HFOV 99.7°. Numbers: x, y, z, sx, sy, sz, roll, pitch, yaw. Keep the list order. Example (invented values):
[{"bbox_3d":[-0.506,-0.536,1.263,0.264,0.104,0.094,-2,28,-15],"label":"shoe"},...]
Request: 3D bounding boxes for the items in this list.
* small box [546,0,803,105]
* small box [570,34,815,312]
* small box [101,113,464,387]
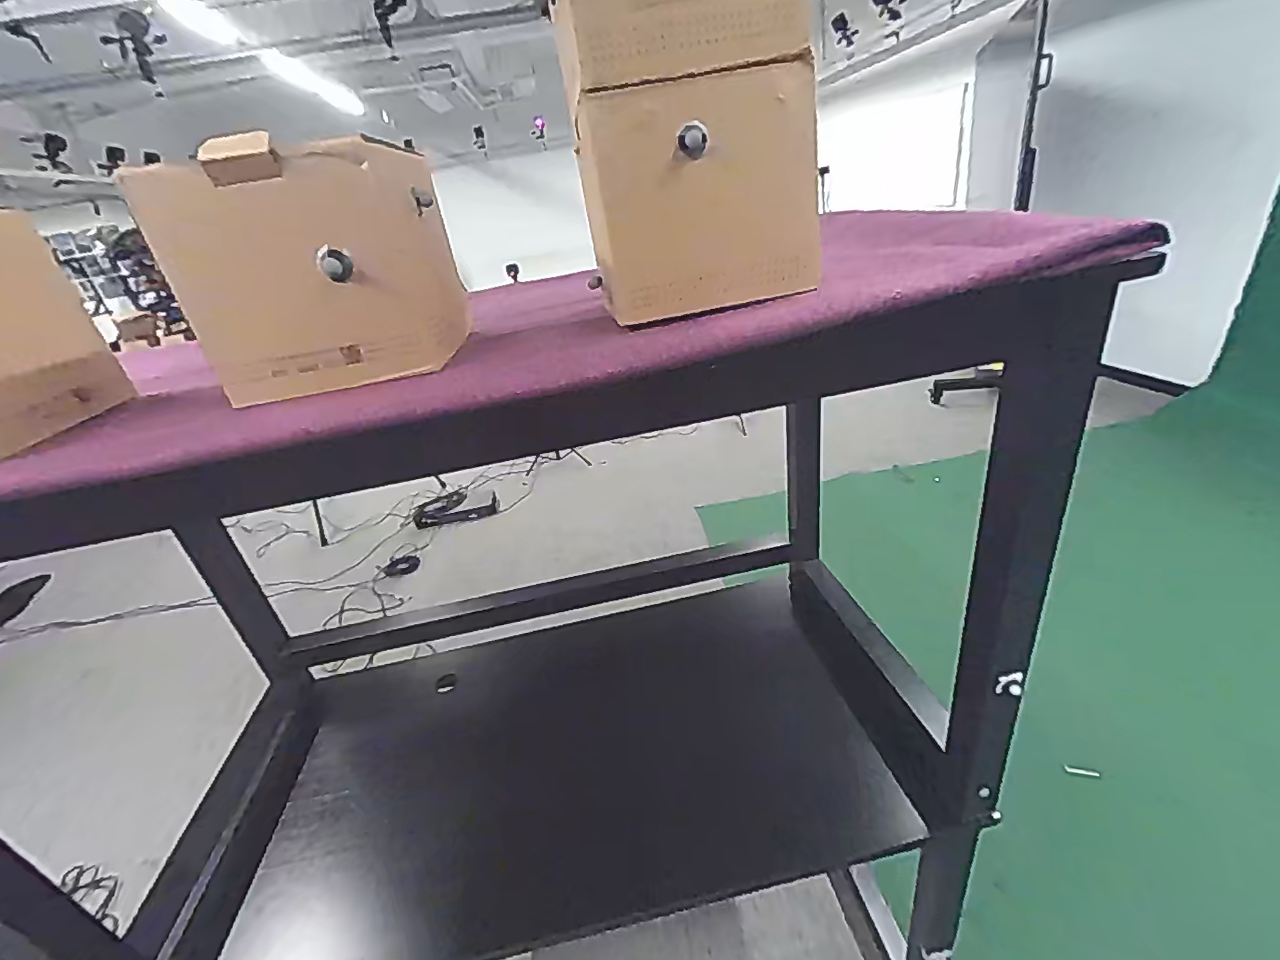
[{"bbox_3d":[0.013,-0.401,0.419,0.179,0.176,0.168,-12,25,-4],"label":"small box"},{"bbox_3d":[0.042,-0.255,0.484,0.179,0.176,0.168,-12,25,-4],"label":"small box"},{"bbox_3d":[-0.262,-0.184,0.455,0.168,0.176,0.179,-10,27,-3],"label":"small box"}]
